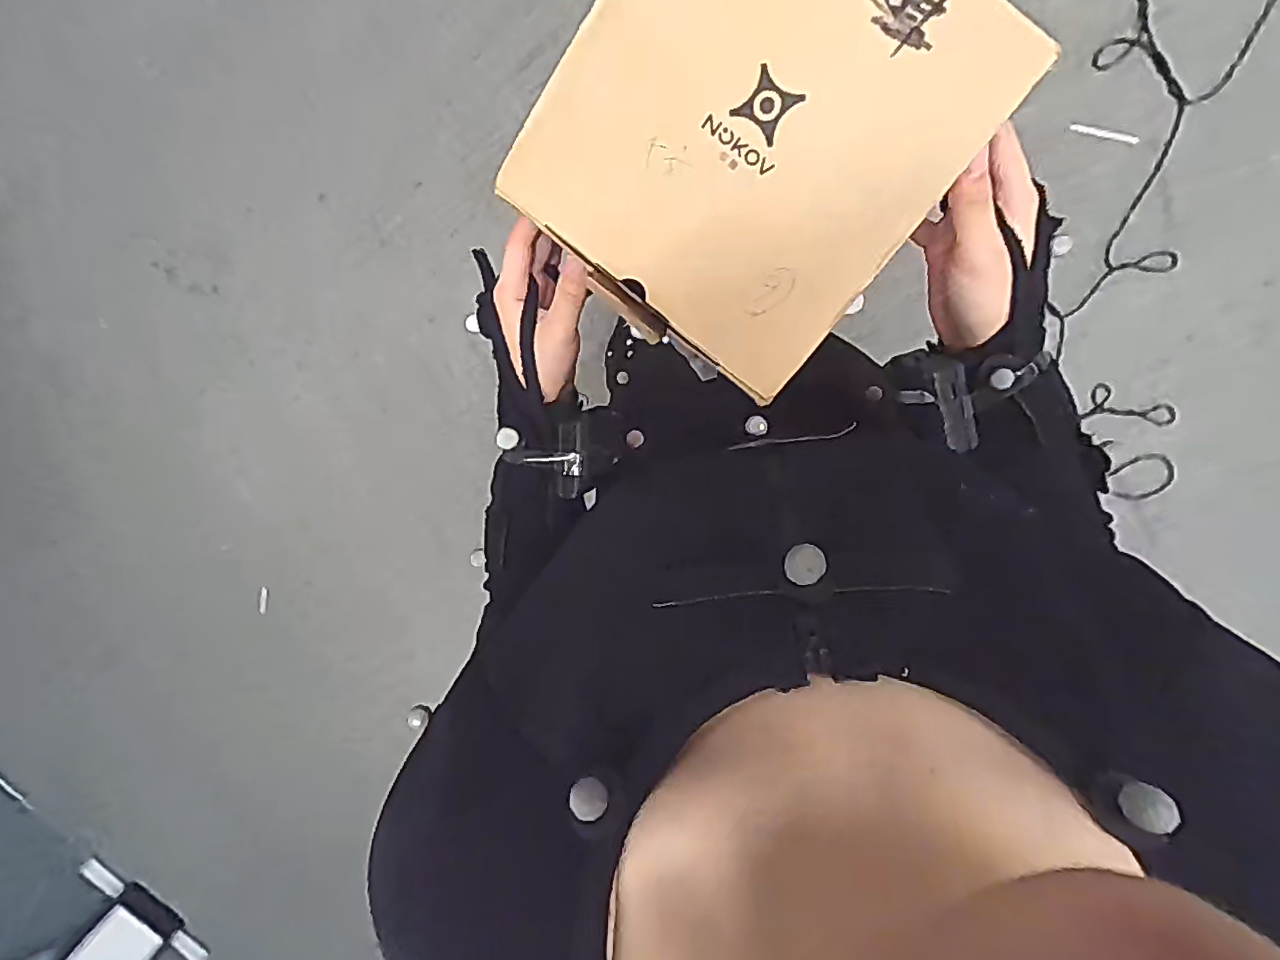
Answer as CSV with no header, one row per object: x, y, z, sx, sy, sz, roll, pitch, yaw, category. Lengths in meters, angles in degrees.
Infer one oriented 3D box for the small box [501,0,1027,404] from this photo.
0.058,-0.167,0.317,0.168,0.176,0.179,38,106,-1,small box
